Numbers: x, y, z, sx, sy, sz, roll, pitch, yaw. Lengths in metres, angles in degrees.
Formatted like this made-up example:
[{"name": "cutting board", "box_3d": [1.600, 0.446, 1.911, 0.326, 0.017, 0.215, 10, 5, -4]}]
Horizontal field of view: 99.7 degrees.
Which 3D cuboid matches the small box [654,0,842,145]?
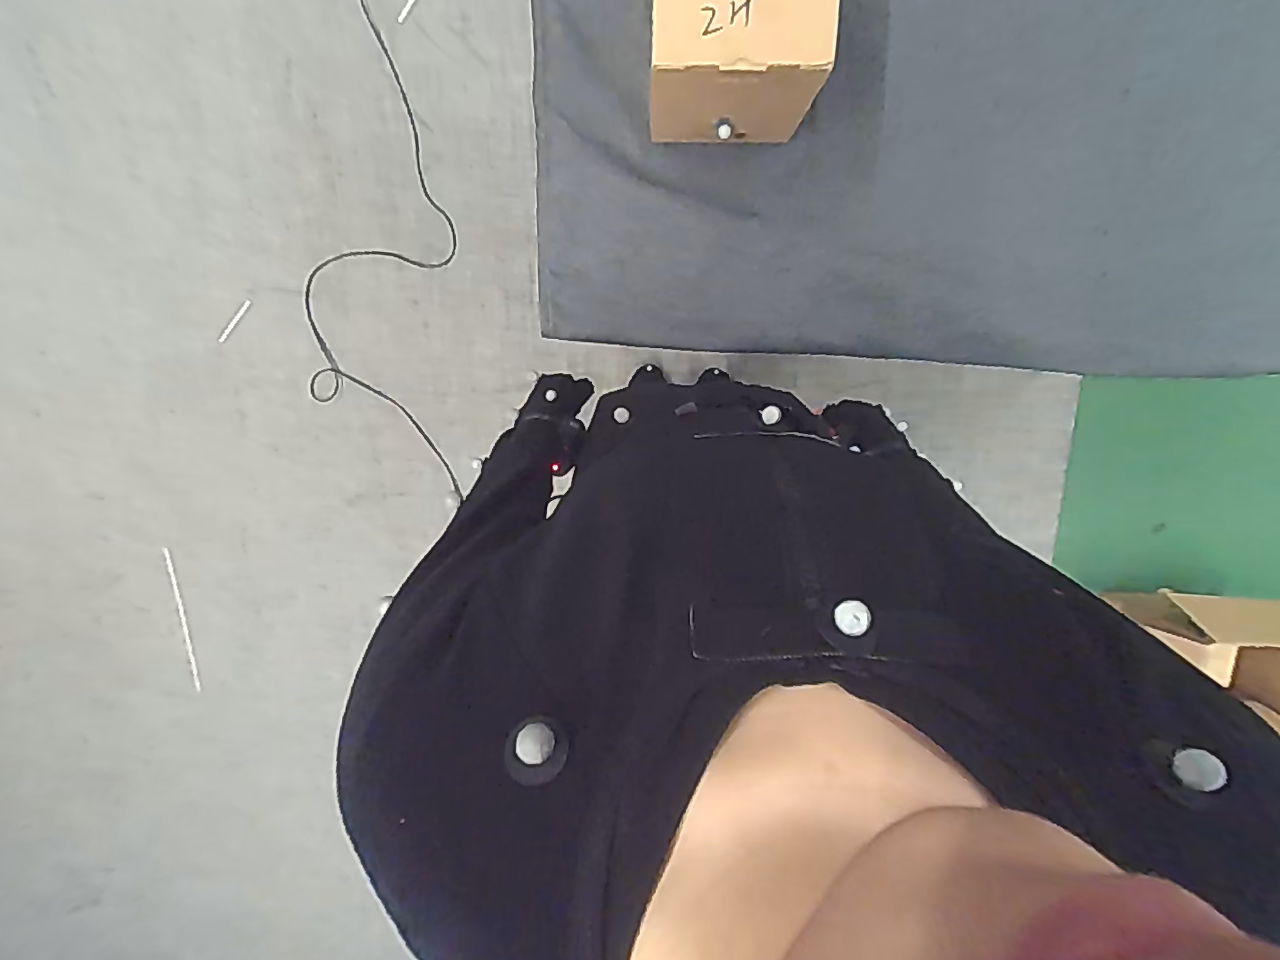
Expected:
[{"name": "small box", "box_3d": [0.099, -0.474, 0.552, 0.168, 0.176, 0.179, 1, 101, 1]}]
